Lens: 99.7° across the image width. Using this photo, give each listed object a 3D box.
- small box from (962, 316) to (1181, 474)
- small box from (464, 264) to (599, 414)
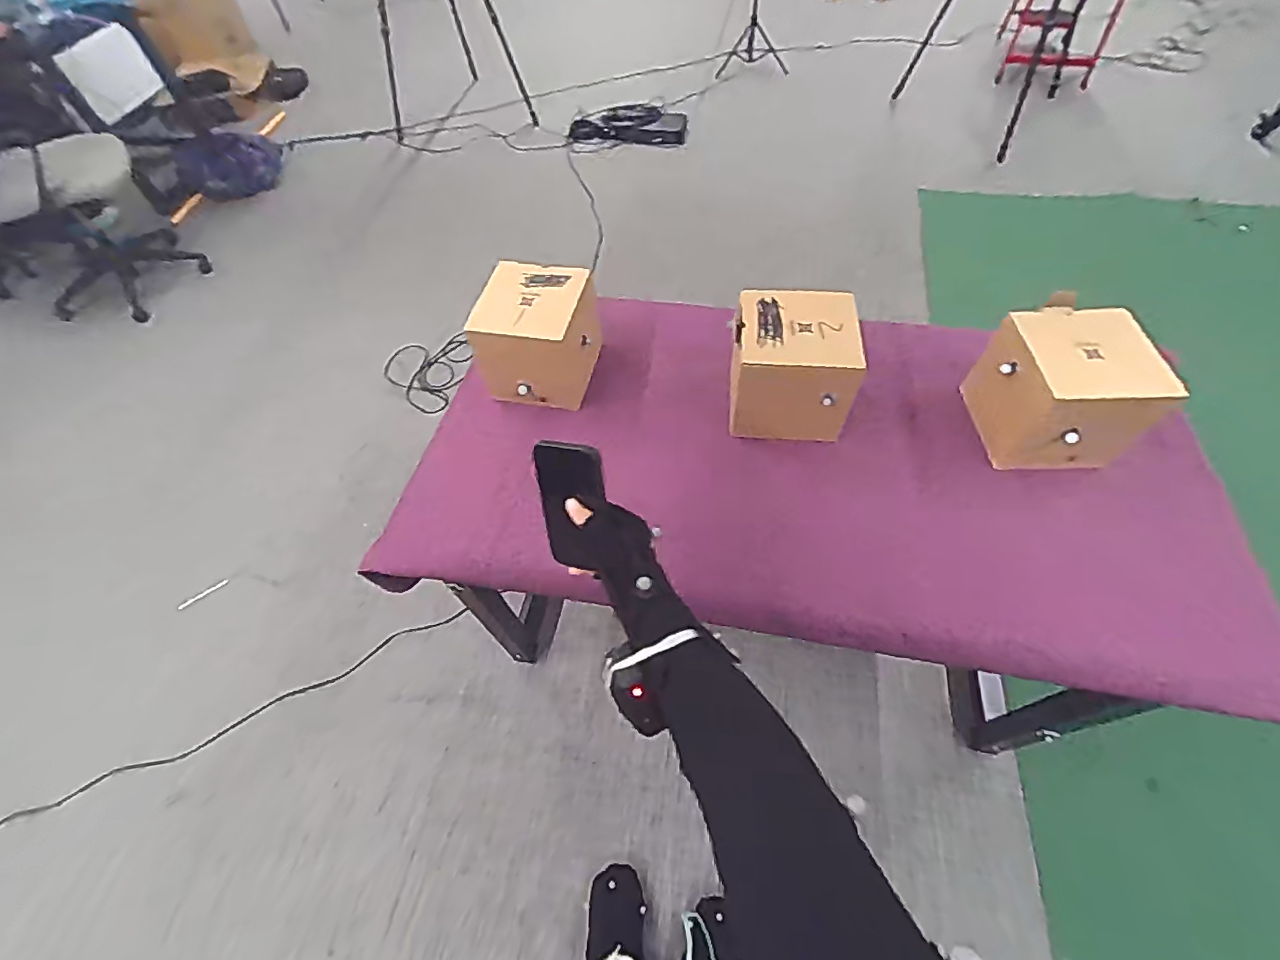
[{"bbox_3d":[0.621,-0.120,0.810,0.168,0.176,0.179,-1,55,3],"label":"small box"},{"bbox_3d":[-0.174,-0.243,0.936,0.168,0.176,0.179,9,59,9],"label":"small box"}]
